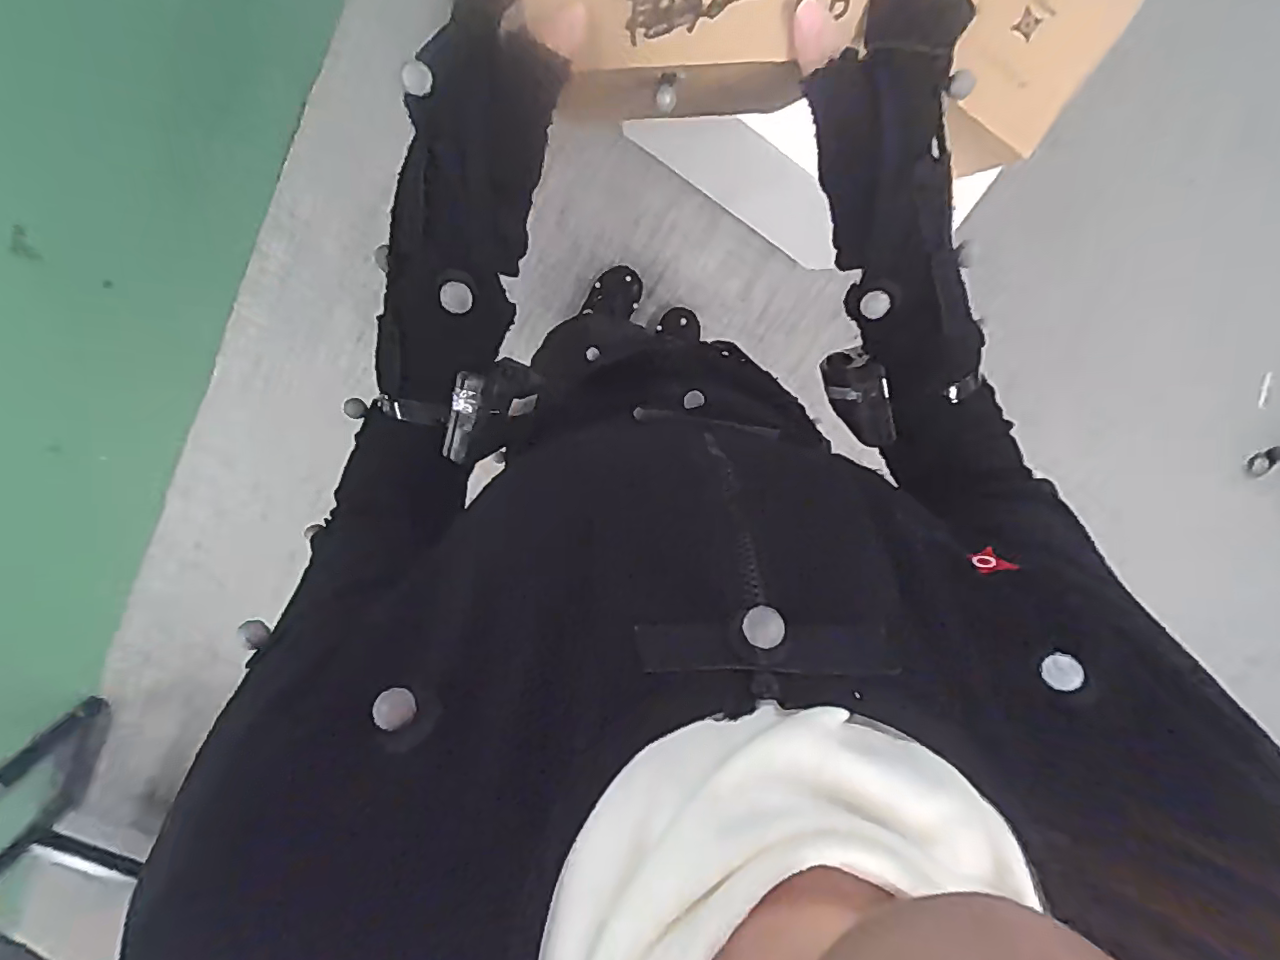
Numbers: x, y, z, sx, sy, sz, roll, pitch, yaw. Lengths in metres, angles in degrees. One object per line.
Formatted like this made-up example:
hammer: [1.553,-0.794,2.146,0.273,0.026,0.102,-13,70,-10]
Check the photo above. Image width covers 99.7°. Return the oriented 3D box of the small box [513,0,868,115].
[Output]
small box: [0.017,-0.313,0.287,0.168,0.176,0.179,-4,118,-1]

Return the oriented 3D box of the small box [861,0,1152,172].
small box: [0.368,-0.461,0.568,0.168,0.176,0.179,29,110,-10]
